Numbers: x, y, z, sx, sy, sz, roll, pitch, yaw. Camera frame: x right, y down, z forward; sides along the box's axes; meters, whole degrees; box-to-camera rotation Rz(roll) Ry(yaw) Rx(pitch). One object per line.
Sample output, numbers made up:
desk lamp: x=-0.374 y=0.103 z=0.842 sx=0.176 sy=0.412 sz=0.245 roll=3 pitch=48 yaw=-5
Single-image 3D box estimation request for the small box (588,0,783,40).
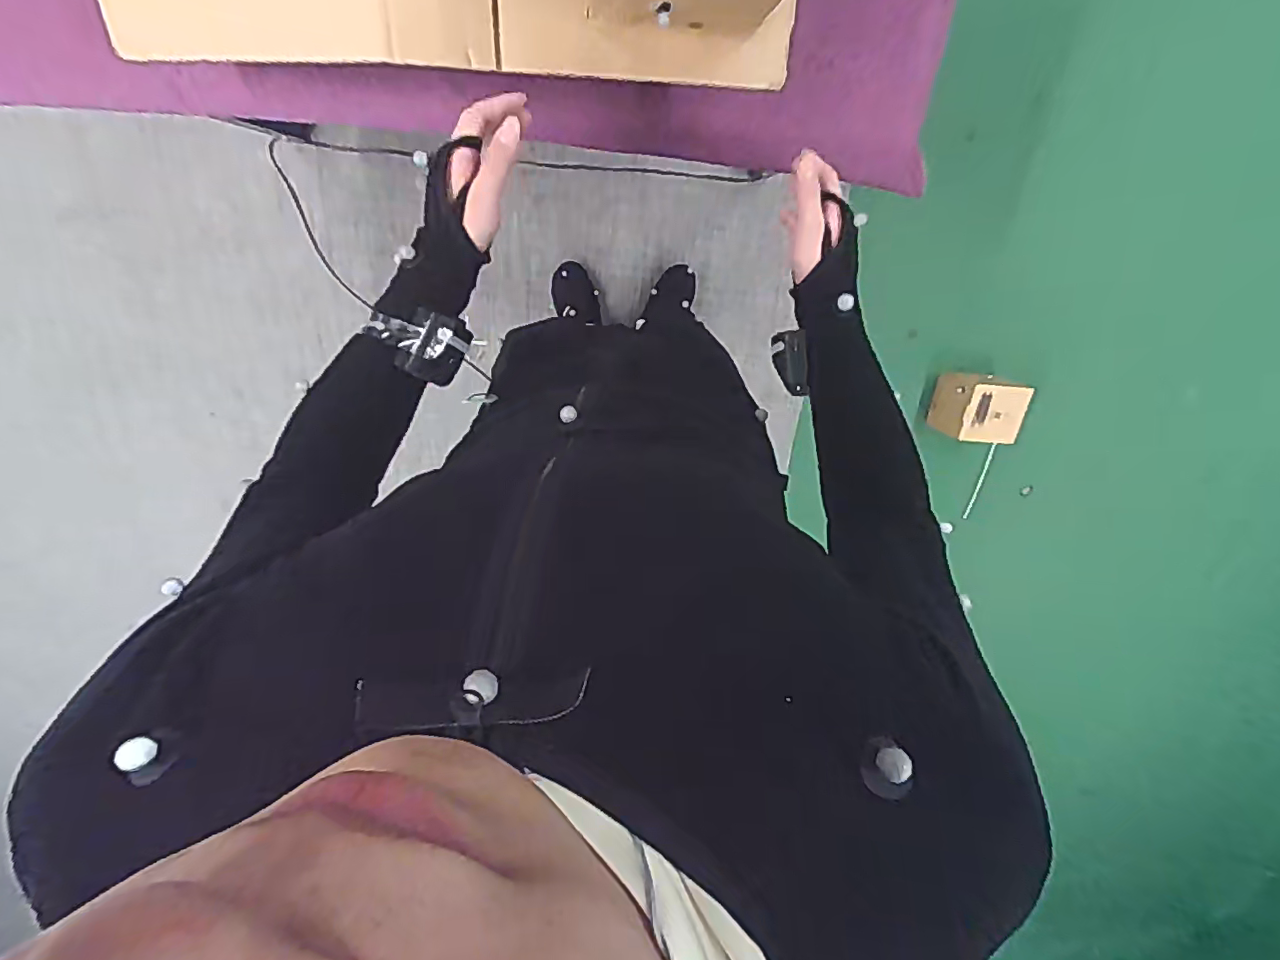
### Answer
small box: x=0.041 y=-0.485 z=0.423 sx=0.168 sy=0.176 sz=0.179 roll=-1 pitch=116 yaw=-6
